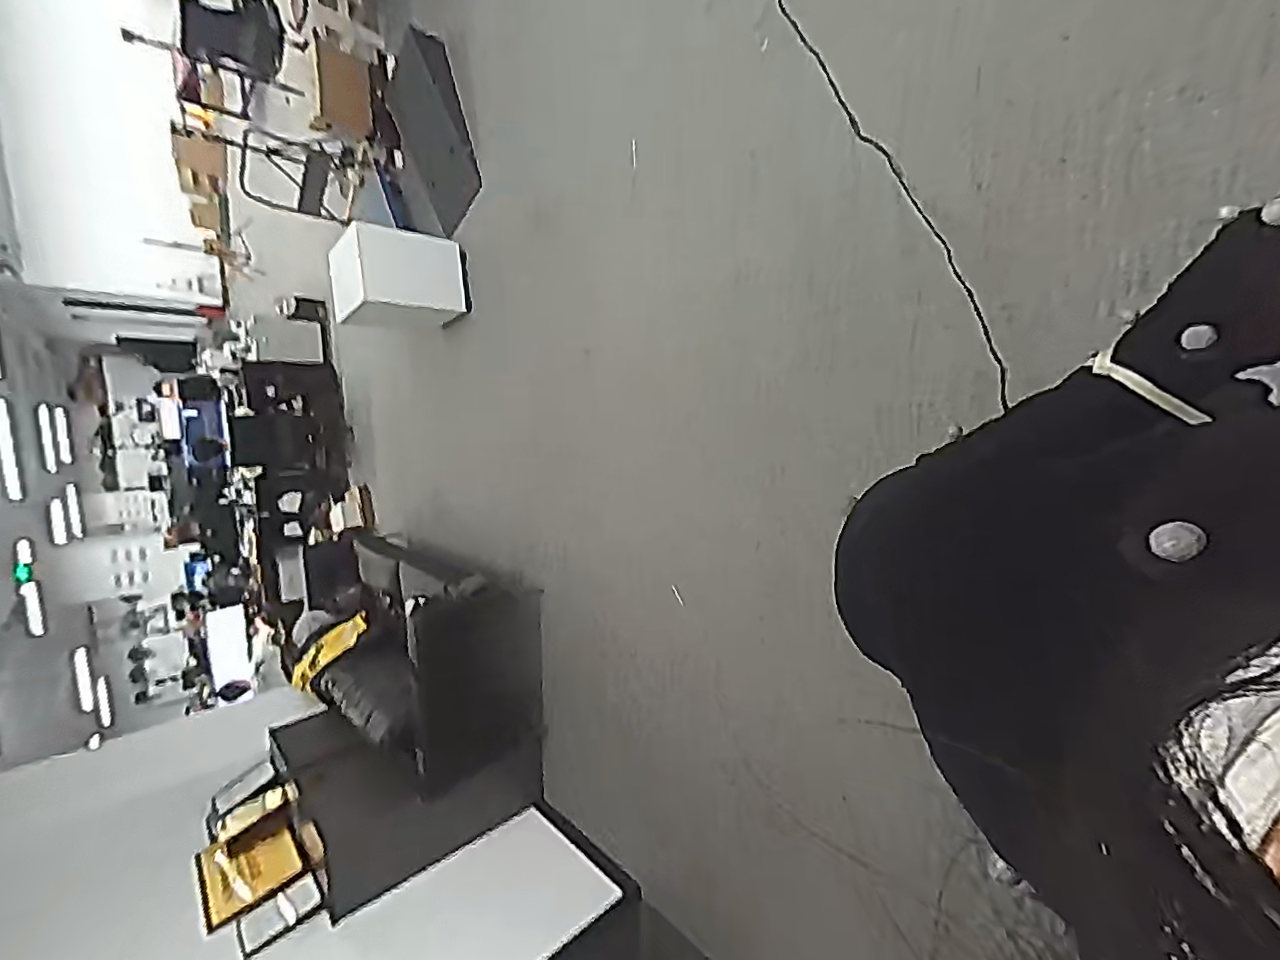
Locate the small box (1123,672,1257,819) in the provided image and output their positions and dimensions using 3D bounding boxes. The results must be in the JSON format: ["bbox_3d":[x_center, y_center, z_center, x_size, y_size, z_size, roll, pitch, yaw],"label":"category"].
[{"bbox_3d":[1.085,0.511,1.070,0.168,0.176,0.179,7,100,46],"label":"small box"}]
